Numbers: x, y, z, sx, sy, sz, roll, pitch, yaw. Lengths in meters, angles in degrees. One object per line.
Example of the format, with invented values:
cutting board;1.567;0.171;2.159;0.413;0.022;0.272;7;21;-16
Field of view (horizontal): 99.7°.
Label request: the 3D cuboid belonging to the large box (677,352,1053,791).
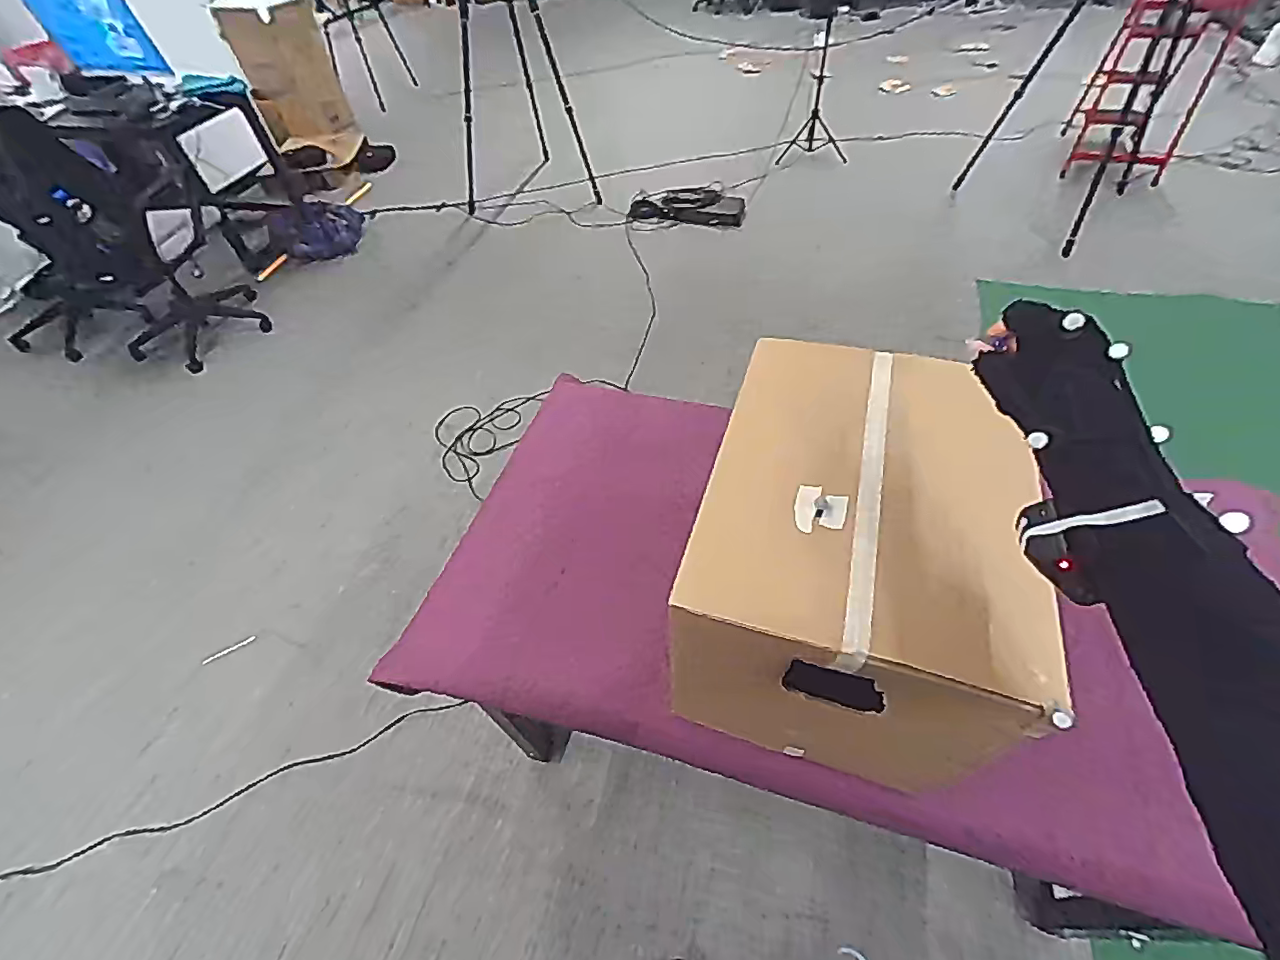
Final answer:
large box;0.245;0.102;0.684;0.320;0.320;0.408;13;53;15
